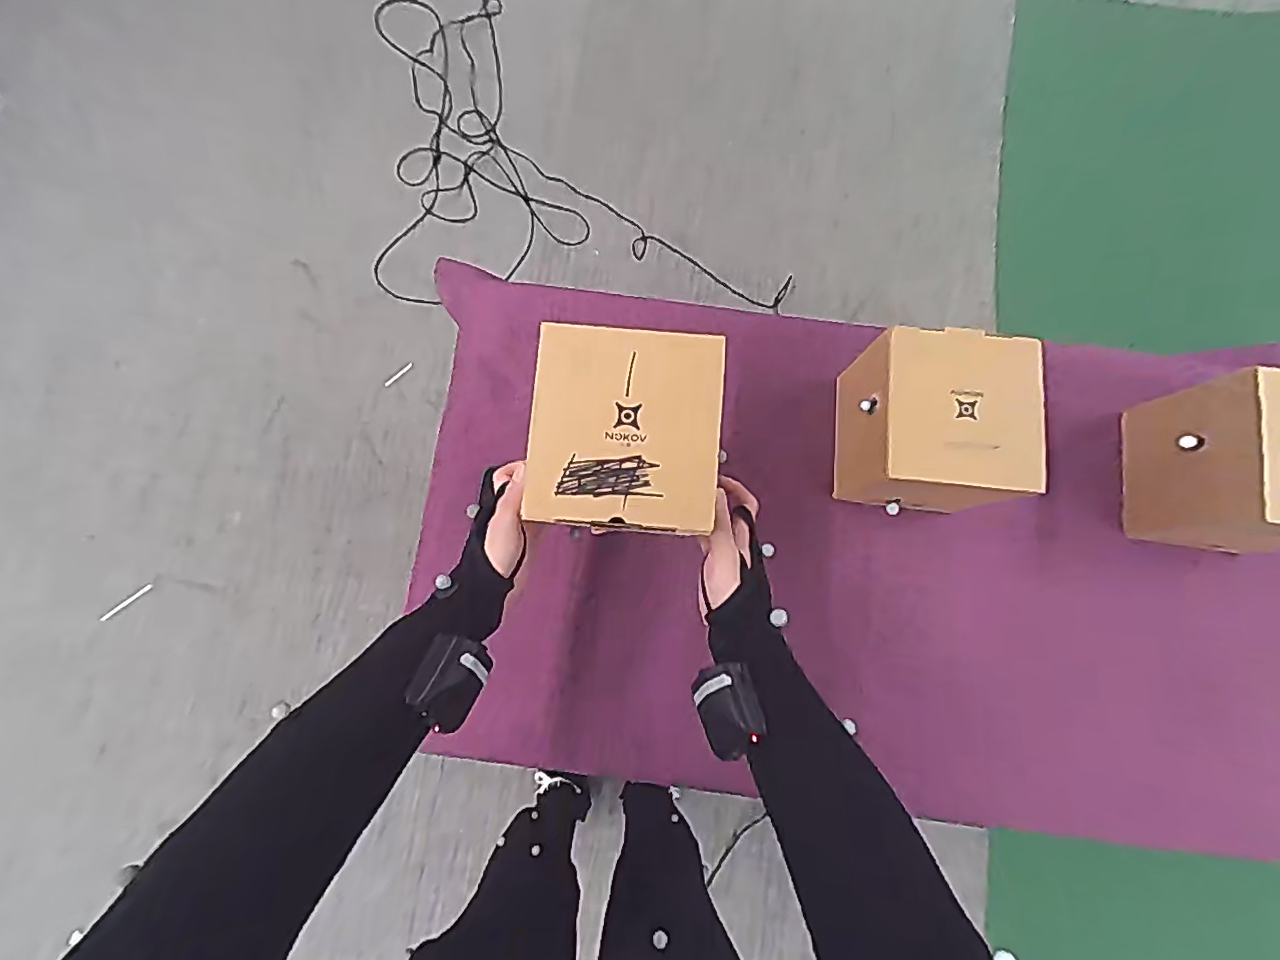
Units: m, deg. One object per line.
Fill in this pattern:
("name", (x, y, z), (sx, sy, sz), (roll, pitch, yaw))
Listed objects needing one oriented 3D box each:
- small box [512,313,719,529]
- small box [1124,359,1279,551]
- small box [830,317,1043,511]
("small box", (-0.018, -0.045, 0.540), (0.168, 0.176, 0.179), (5, 83, 1))
("small box", (0.724, -0.019, 0.641), (0.168, 0.176, 0.179), (8, 78, 2))
("small box", (0.338, -0.068, 0.647), (0.168, 0.176, 0.179), (6, 79, 1))
